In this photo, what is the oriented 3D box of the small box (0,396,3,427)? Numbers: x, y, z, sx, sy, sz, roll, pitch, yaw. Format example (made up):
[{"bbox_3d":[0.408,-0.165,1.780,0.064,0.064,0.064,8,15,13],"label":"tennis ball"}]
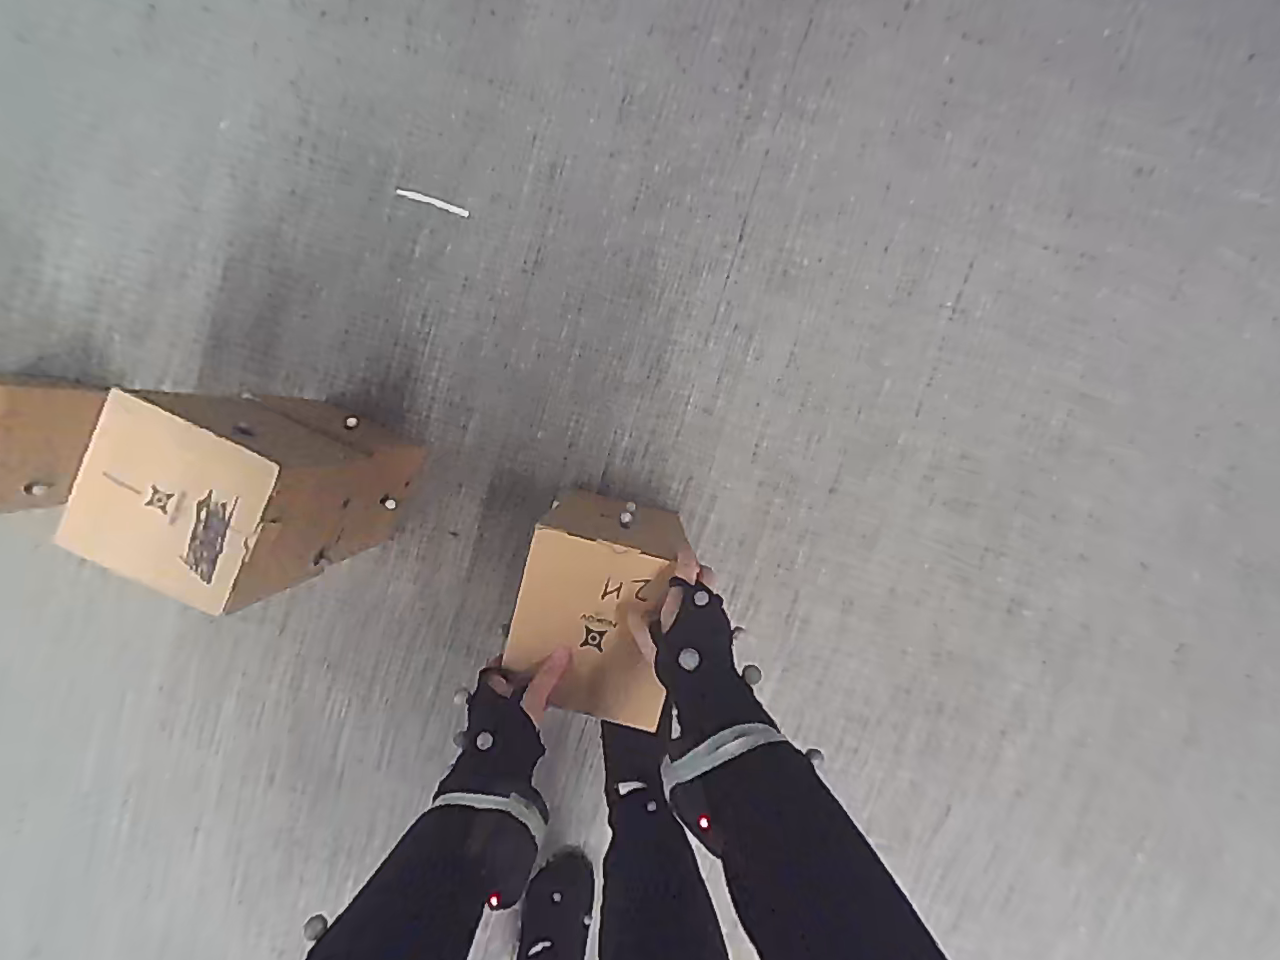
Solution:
[{"bbox_3d":[-0.879,-0.048,0.596,0.168,0.176,0.179,7,94,-1],"label":"small box"}]

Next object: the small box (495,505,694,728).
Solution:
[{"bbox_3d":[-0.046,0.139,0.610,0.168,0.176,0.179,14,95,-2],"label":"small box"}]

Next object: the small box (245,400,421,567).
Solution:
[{"bbox_3d":[-0.442,-0.003,0.763,0.179,0.176,0.168,24,94,-3],"label":"small box"}]

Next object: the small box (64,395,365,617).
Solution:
[{"bbox_3d":[-0.446,0.019,0.599,0.179,0.176,0.168,25,94,-1],"label":"small box"}]

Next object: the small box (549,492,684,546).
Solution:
[{"bbox_3d":[-0.047,0.118,0.774,0.179,0.176,0.168,14,95,-2],"label":"small box"}]
